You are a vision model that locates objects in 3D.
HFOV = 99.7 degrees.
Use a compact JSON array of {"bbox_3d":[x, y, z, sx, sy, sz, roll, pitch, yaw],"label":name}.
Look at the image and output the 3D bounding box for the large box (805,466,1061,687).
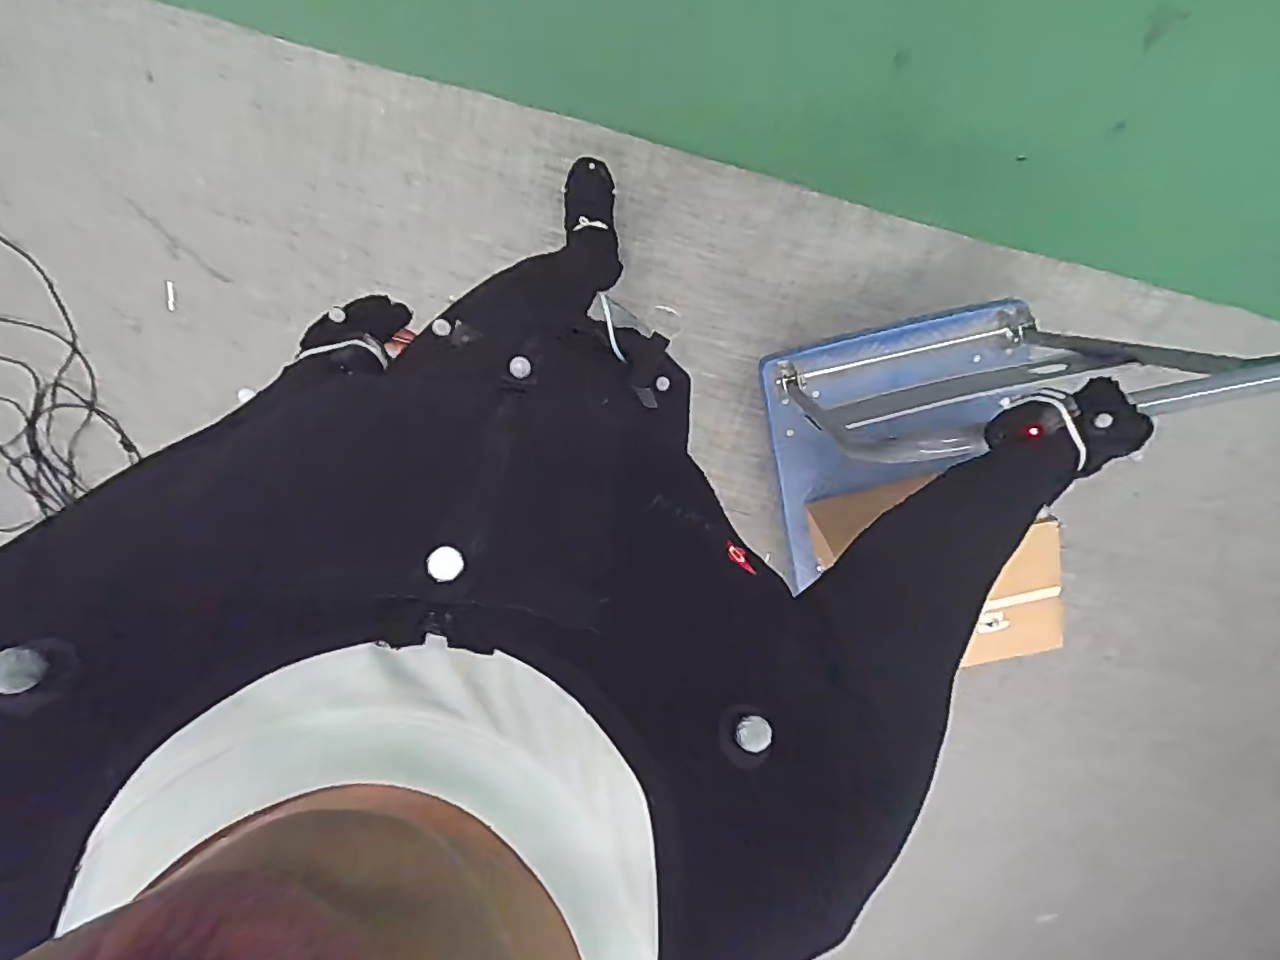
[{"bbox_3d":[0.639,0.206,1.231,0.408,0.320,0.320,-16,112,8],"label":"large box"}]
